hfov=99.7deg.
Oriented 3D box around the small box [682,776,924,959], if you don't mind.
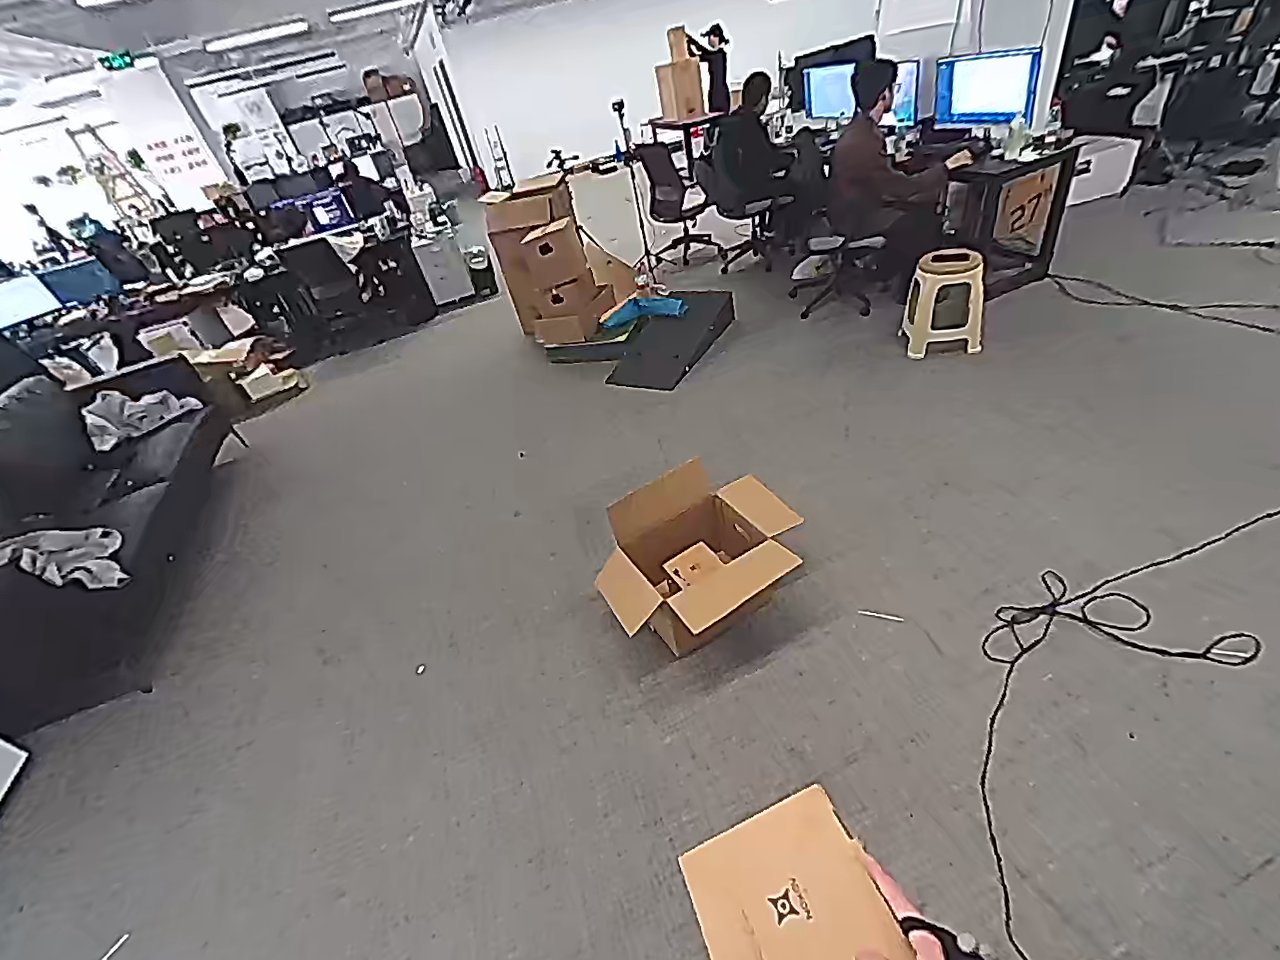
[{"bbox_3d":[0.169,0.456,0.563,0.179,0.176,0.168,-26,32,0],"label":"small box"}]
